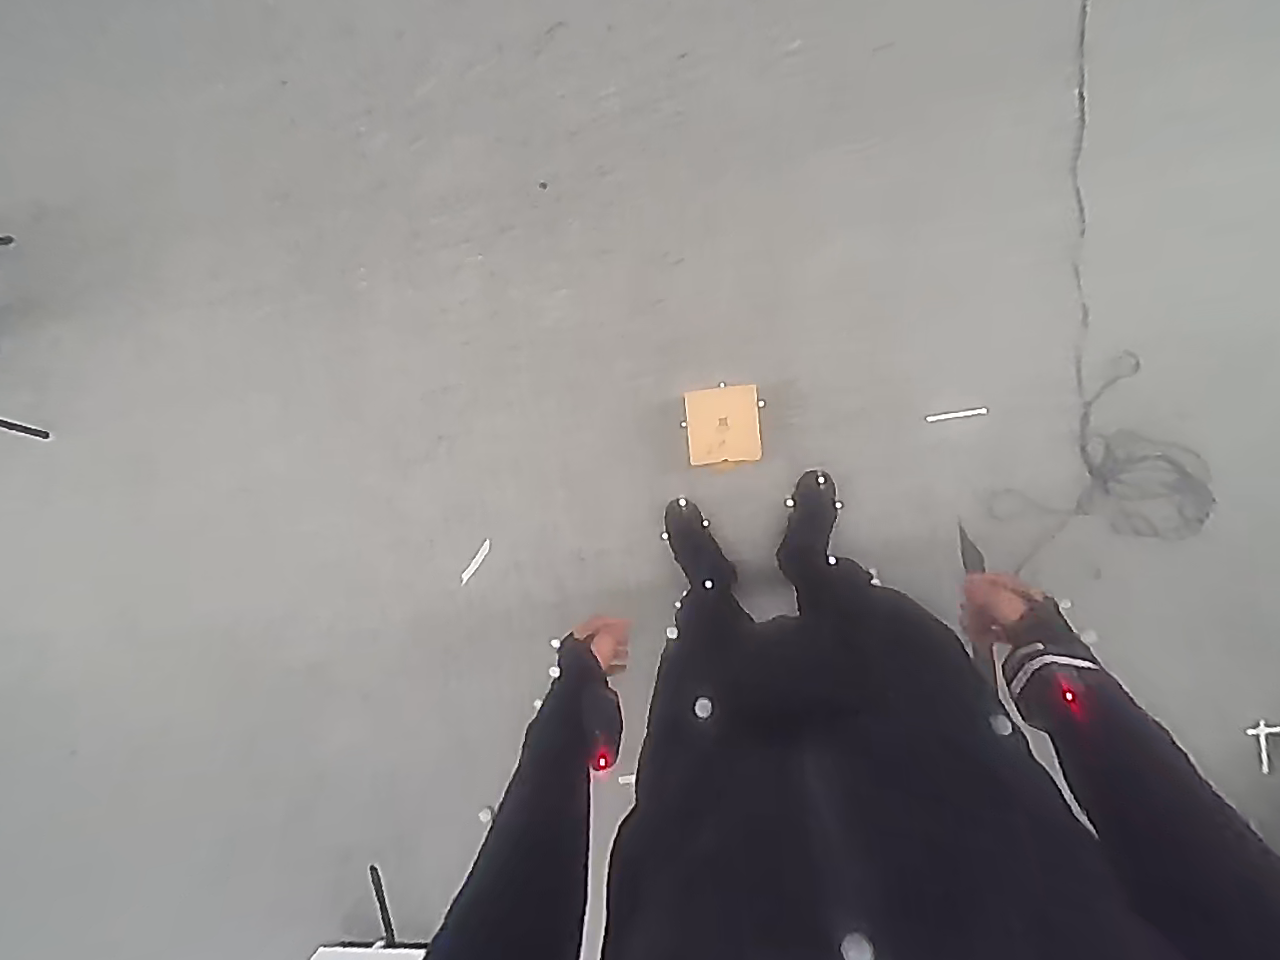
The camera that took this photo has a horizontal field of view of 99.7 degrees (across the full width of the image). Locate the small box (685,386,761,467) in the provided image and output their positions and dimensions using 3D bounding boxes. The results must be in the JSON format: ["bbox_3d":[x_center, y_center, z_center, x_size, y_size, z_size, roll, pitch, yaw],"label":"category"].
[{"bbox_3d":[0.202,-0.129,1.322,0.168,0.176,0.179,-5,96,10],"label":"small box"}]
